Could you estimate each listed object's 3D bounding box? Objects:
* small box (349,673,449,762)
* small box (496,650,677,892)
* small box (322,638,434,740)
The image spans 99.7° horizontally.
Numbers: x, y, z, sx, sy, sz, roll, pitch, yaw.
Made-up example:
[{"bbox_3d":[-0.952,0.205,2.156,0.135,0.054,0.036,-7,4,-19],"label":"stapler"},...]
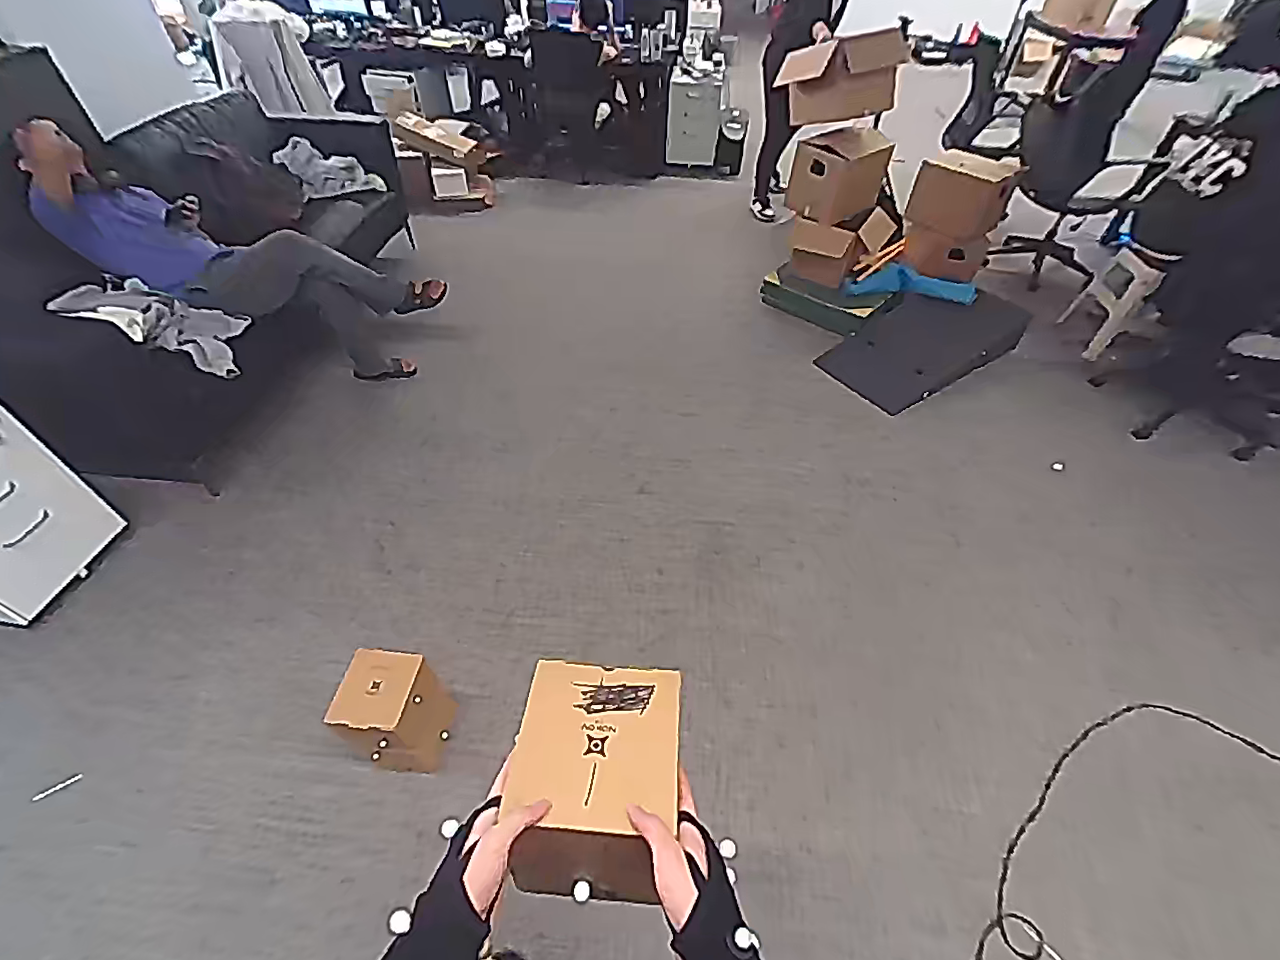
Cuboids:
[{"bbox_3d":[-0.621,0.617,1.422,0.168,0.176,0.179,6,48,4],"label":"small box"},{"bbox_3d":[-0.049,0.320,0.606,0.168,0.176,0.179,4,36,3],"label":"small box"},{"bbox_3d":[-0.618,0.507,1.303,0.168,0.176,0.179,5,47,2],"label":"small box"}]
